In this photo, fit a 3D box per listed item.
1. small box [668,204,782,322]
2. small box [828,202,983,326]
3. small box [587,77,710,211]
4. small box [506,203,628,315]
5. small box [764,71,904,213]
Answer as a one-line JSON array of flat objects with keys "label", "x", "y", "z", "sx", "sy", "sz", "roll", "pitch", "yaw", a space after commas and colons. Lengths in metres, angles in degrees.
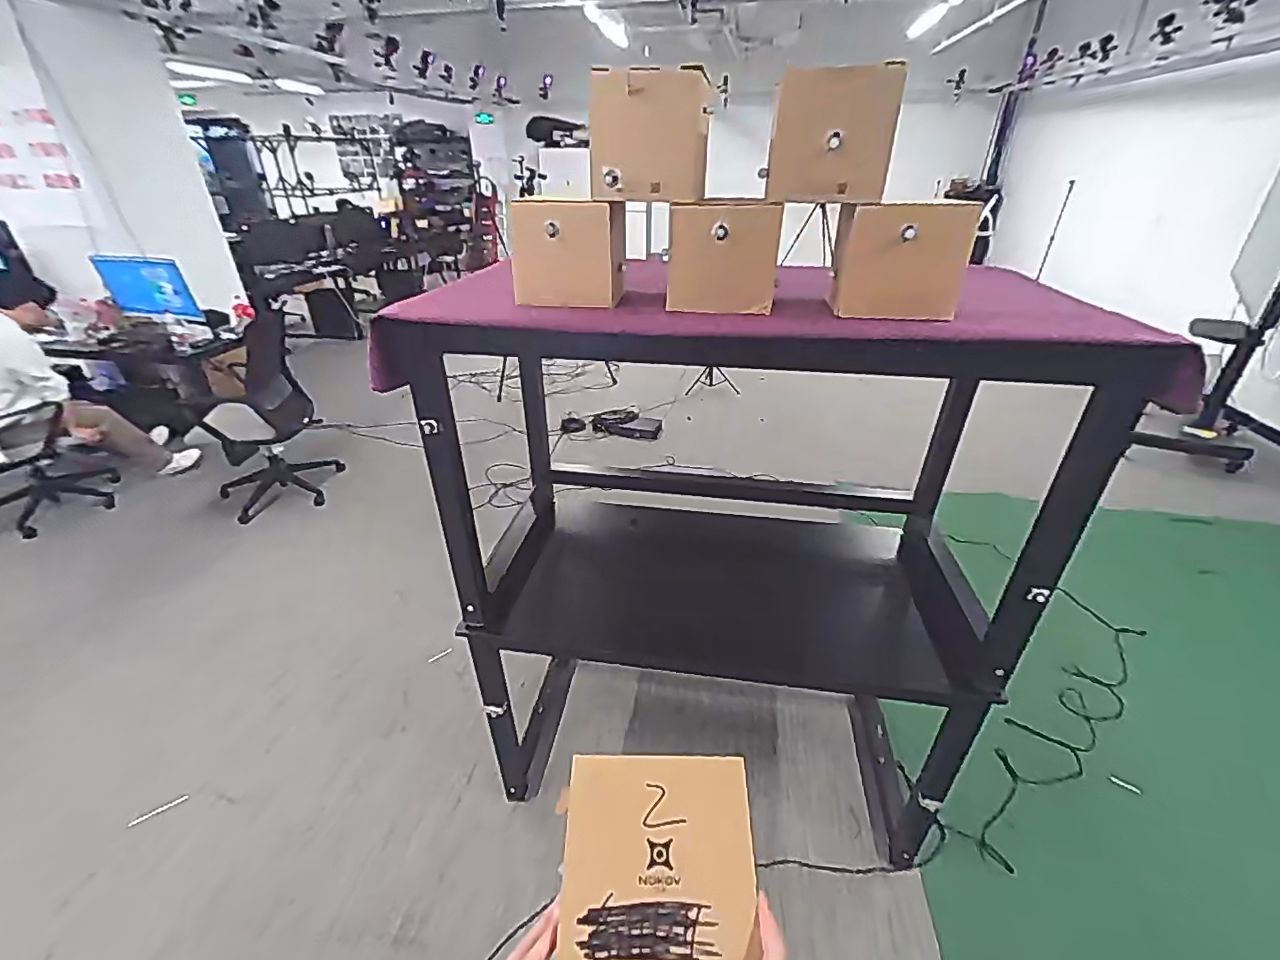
[{"label": "small box", "x": 0.143, "y": -0.373, "z": 0.924, "sx": 0.179, "sy": 0.176, "sz": 0.168, "roll": 5, "pitch": 30, "yaw": 9}, {"label": "small box", "x": 0.418, "y": -0.354, "z": 0.886, "sx": 0.179, "sy": 0.176, "sz": 0.168, "roll": 3, "pitch": 30, "yaw": 10}, {"label": "small box", "x": 0.020, "y": -0.532, "z": 0.873, "sx": 0.168, "sy": 0.176, "sz": 0.179, "roll": 6, "pitch": 30, "yaw": 10}, {"label": "small box", "x": -0.120, "y": -0.399, "z": 0.972, "sx": 0.179, "sy": 0.176, "sz": 0.168, "roll": 4, "pitch": 31, "yaw": 7}, {"label": "small box", "x": 0.285, "y": -0.510, "z": 0.832, "sx": 0.168, "sy": 0.176, "sz": 0.179, "roll": 4, "pitch": 31, "yaw": 8}]
